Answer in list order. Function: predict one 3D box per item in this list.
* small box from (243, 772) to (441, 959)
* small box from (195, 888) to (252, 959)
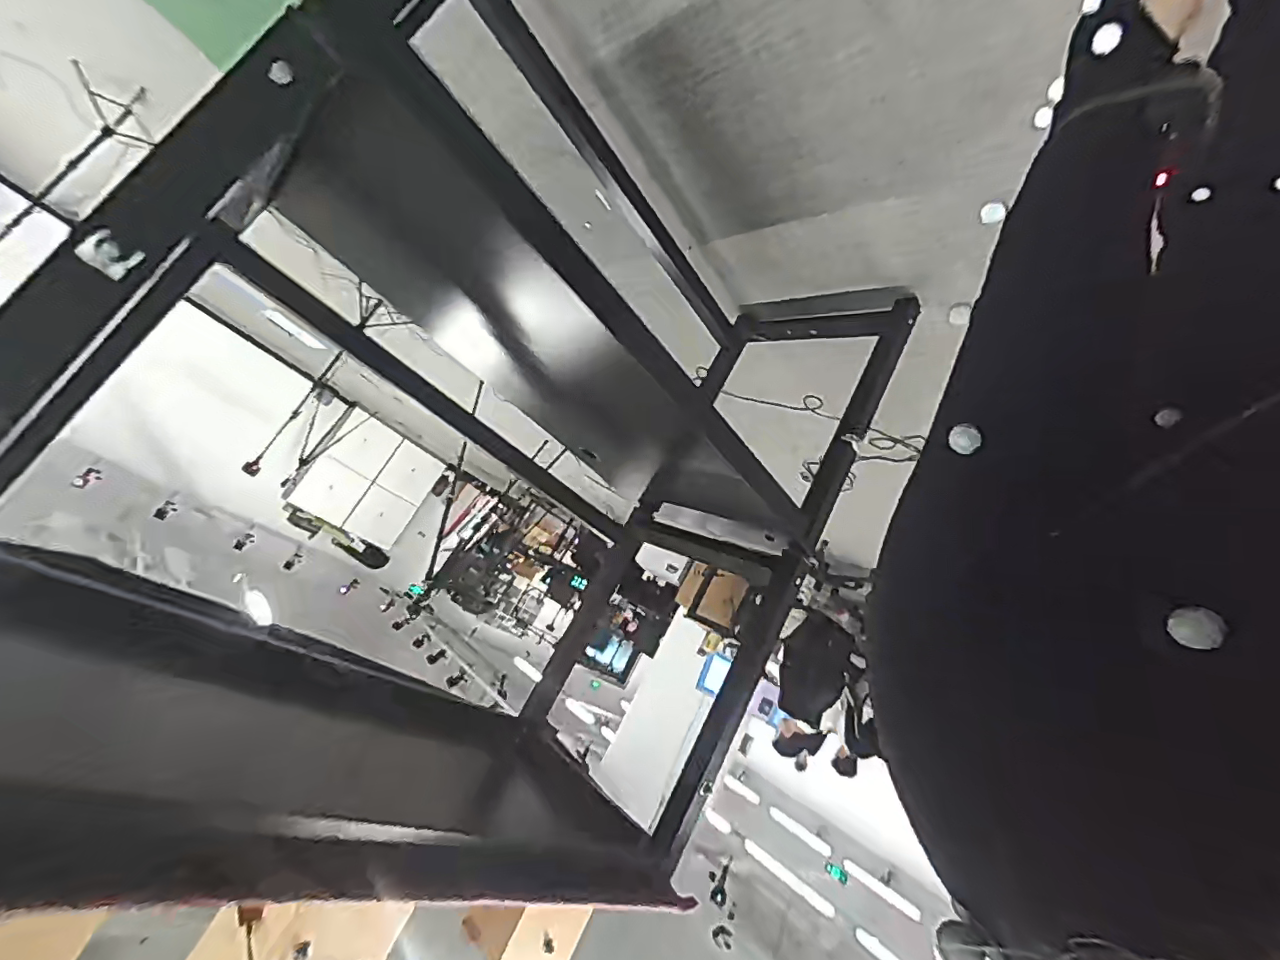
[{"bbox_3d":[-0.425,0.559,0.783,0.168,0.176,0.179,15,160,48],"label":"small box"},{"bbox_3d":[-0.508,0.692,0.741,0.179,0.176,0.168,15,158,51],"label":"small box"}]
